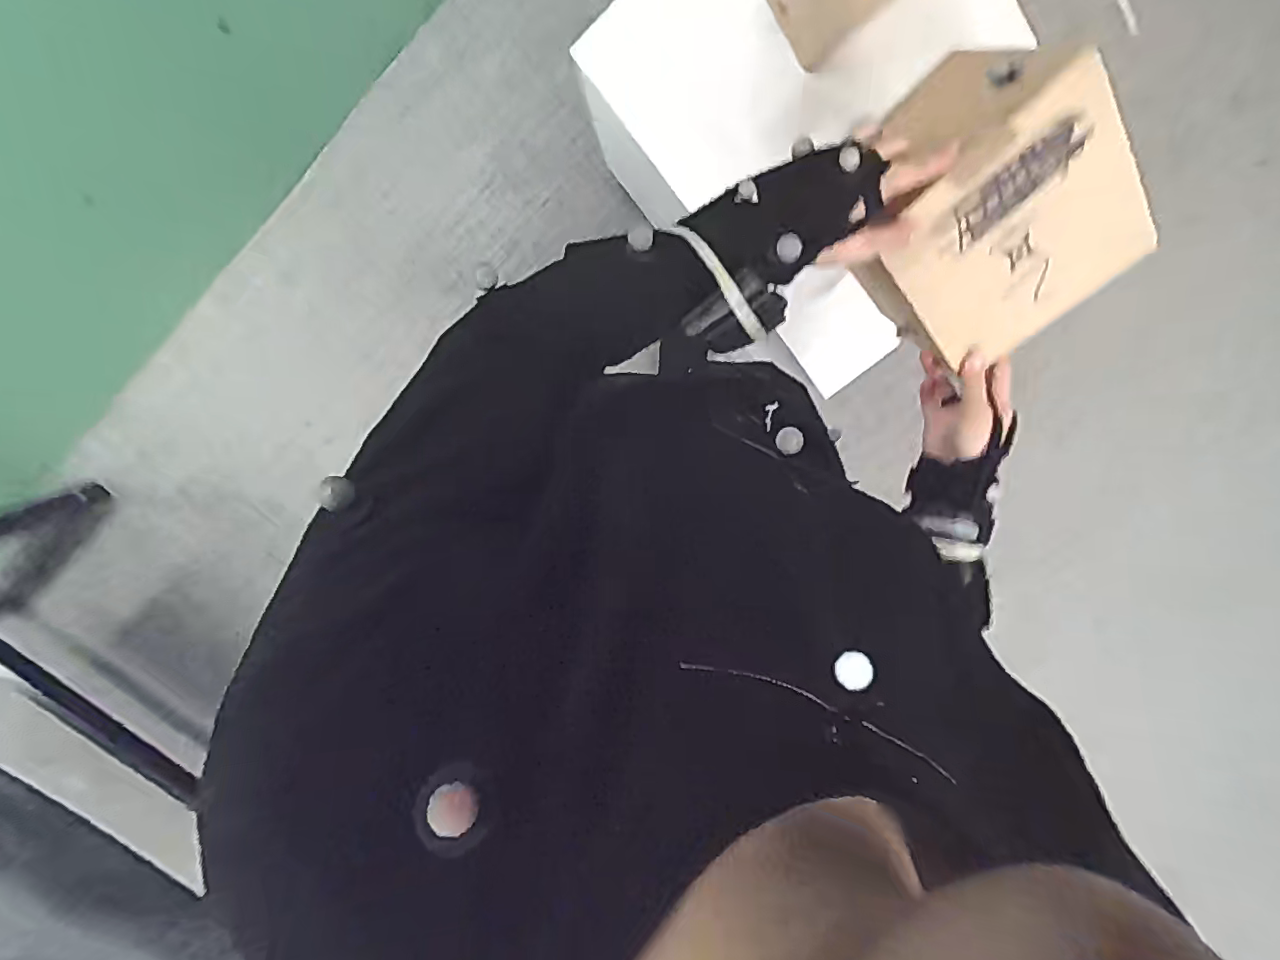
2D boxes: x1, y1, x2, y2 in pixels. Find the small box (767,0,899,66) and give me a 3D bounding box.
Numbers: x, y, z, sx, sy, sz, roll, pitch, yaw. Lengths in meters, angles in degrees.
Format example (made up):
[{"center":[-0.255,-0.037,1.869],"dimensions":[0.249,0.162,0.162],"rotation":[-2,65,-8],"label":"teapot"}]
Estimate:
[{"center":[0.207,-0.535,0.488],"dimensions":[0.179,0.176,0.168],"rotation":[-35,106,12],"label":"small box"}]
